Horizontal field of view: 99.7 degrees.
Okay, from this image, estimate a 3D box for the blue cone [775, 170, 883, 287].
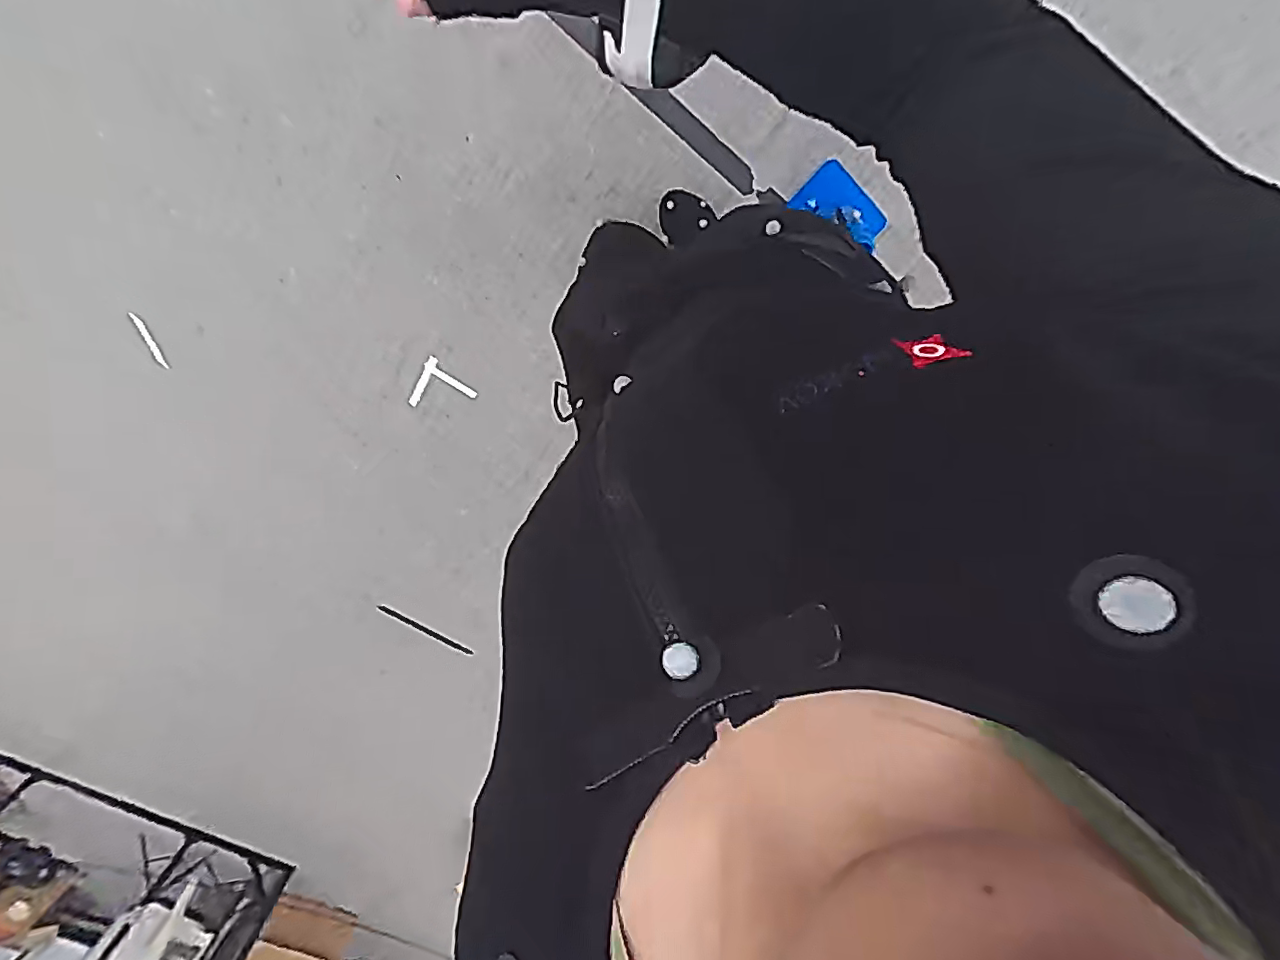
[{"bbox_3d":[0.404,-0.477,1.068,0.192,0.380,0.193,37,117,-15],"label":"blue cone"}]
